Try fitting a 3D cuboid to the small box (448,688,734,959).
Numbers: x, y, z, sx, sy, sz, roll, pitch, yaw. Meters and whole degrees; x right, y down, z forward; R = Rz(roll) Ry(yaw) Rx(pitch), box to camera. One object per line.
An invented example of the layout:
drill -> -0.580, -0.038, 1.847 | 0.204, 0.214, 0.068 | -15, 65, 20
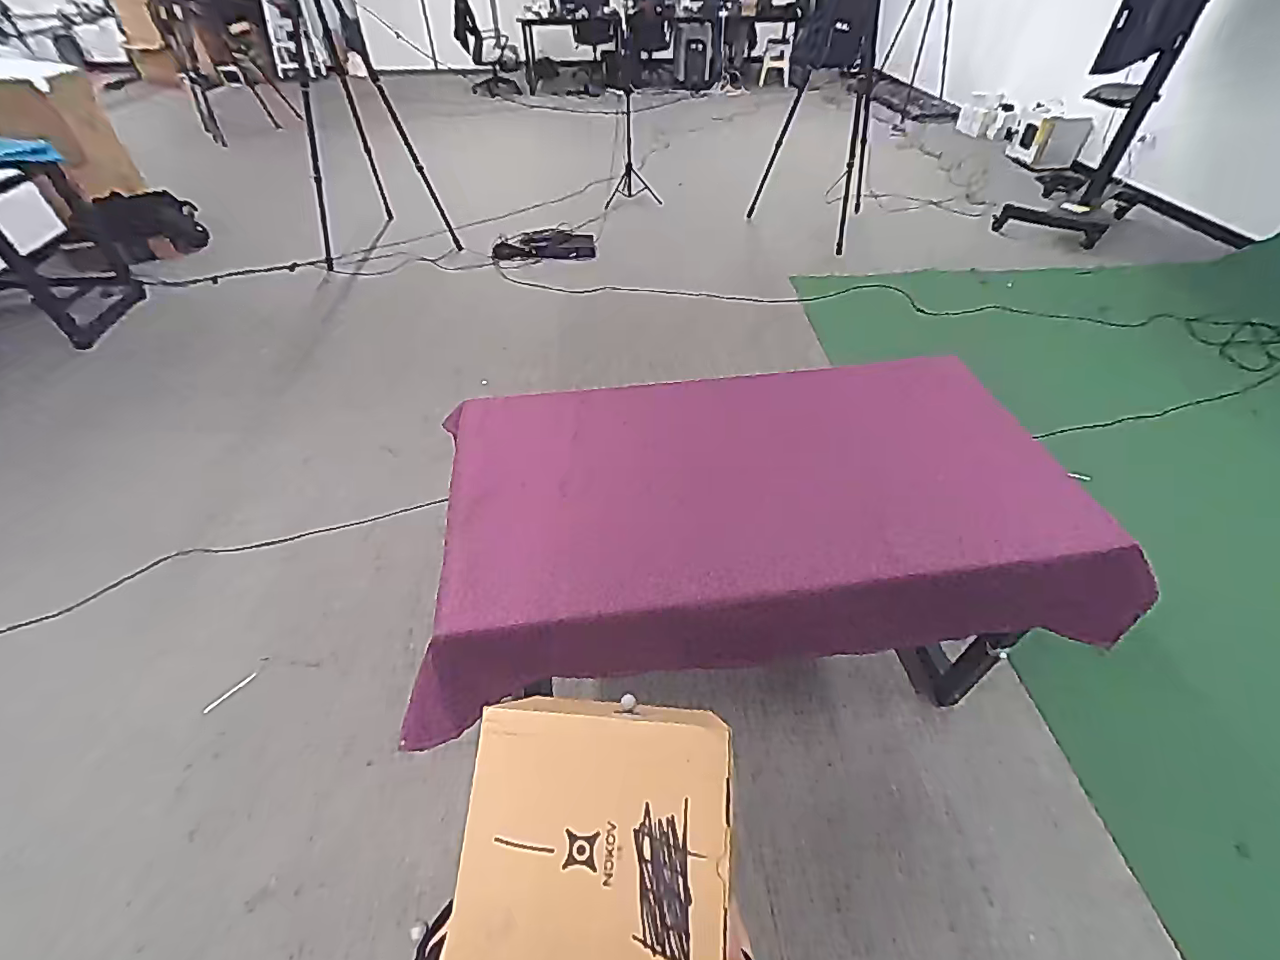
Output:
small box -> -0.024, 0.261, 0.429 | 0.179, 0.176, 0.168 | 3, 71, 4
